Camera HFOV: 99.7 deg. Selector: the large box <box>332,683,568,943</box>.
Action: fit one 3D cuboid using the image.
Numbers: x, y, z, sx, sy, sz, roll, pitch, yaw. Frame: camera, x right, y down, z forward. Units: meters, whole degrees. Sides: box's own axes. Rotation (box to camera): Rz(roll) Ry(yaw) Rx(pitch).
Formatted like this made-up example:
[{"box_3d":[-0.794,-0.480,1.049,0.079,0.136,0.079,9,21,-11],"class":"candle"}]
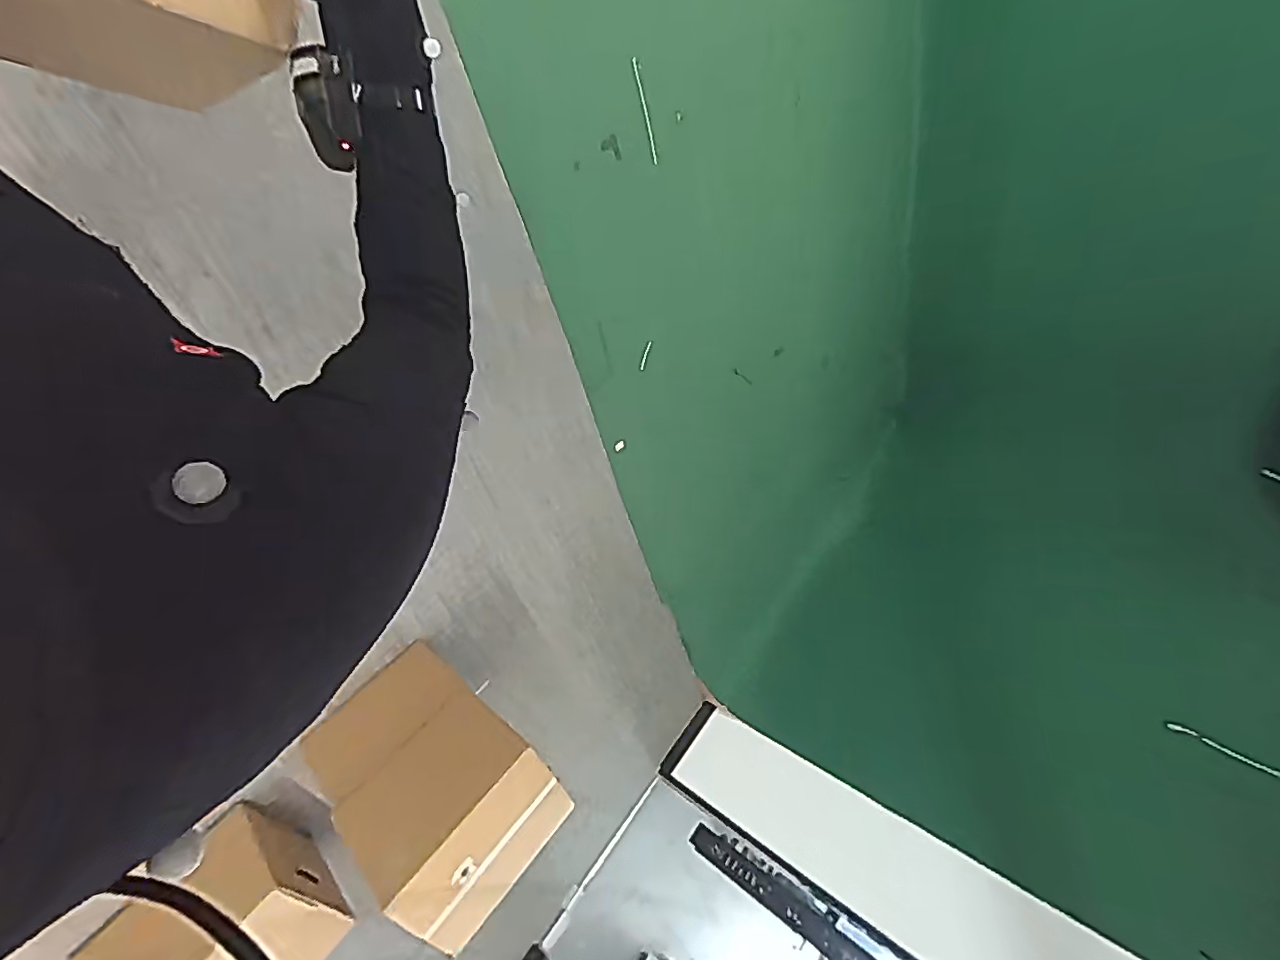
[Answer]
[{"box_3d":[-0.461,0.811,1.364,0.408,0.320,0.320,-42,130,-30],"class":"large box"}]
